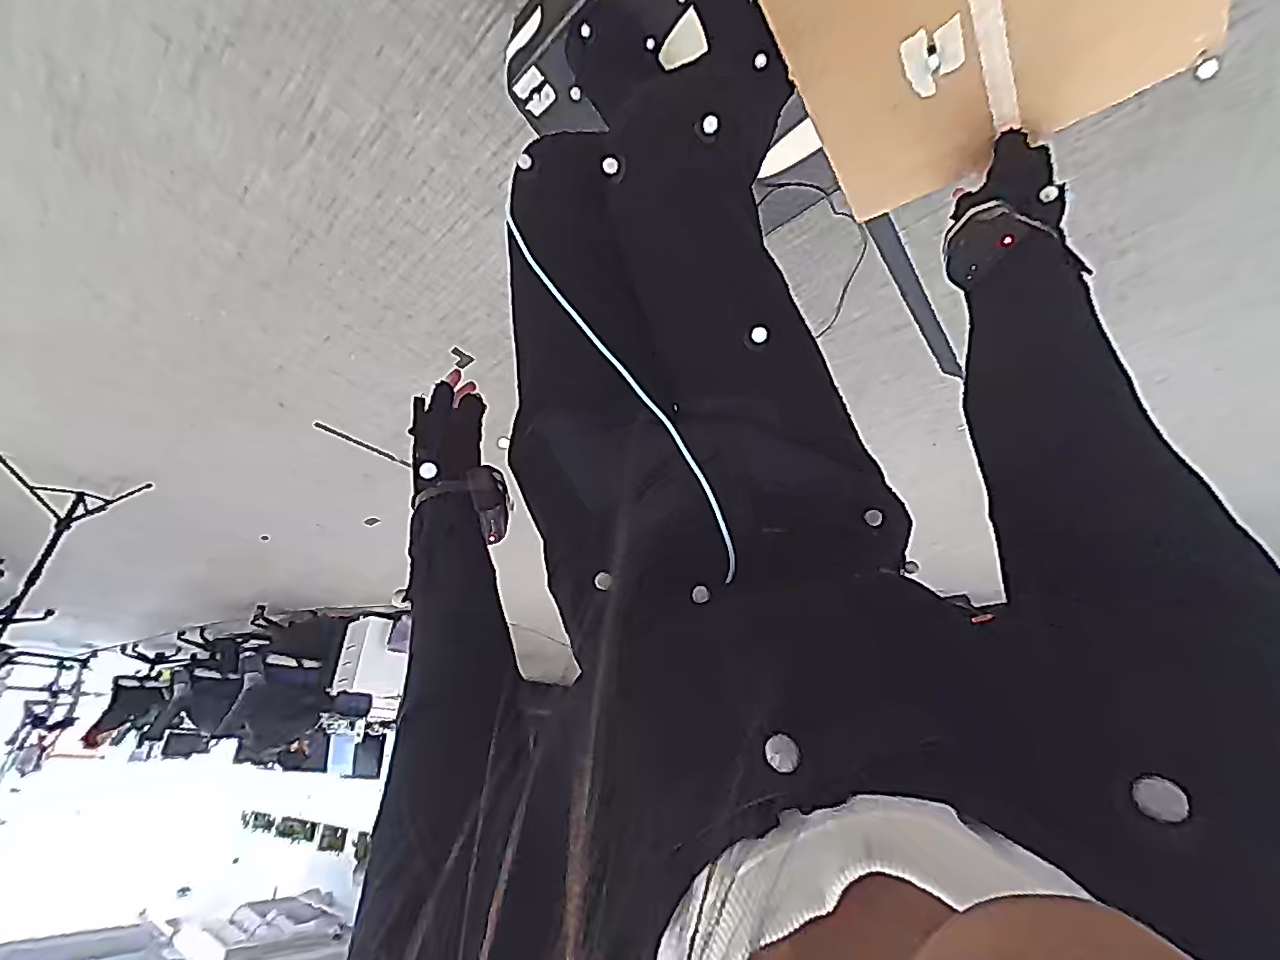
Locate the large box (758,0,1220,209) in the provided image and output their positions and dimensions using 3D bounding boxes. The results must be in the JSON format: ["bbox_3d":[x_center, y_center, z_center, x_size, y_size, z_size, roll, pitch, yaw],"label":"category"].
[{"bbox_3d":[0.279,-0.569,0.499,0.320,0.320,0.408,-13,147,37],"label":"large box"}]
